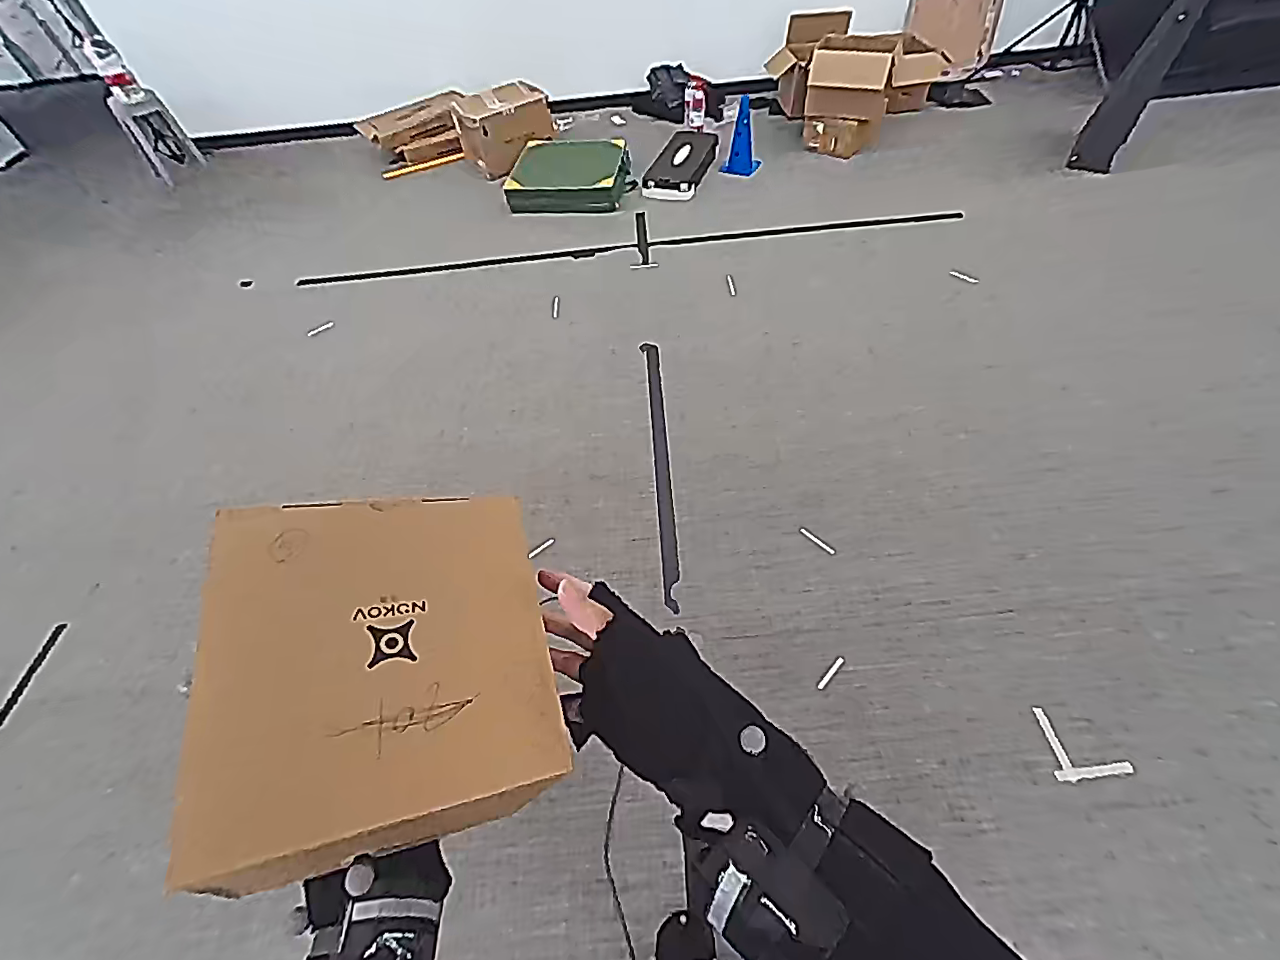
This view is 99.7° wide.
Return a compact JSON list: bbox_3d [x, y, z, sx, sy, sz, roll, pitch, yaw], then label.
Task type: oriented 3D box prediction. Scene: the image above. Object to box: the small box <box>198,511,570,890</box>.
[{"bbox_3d":[-0.163,0.139,0.359,0.168,0.176,0.179,-1,54,-27],"label":"small box"}]
